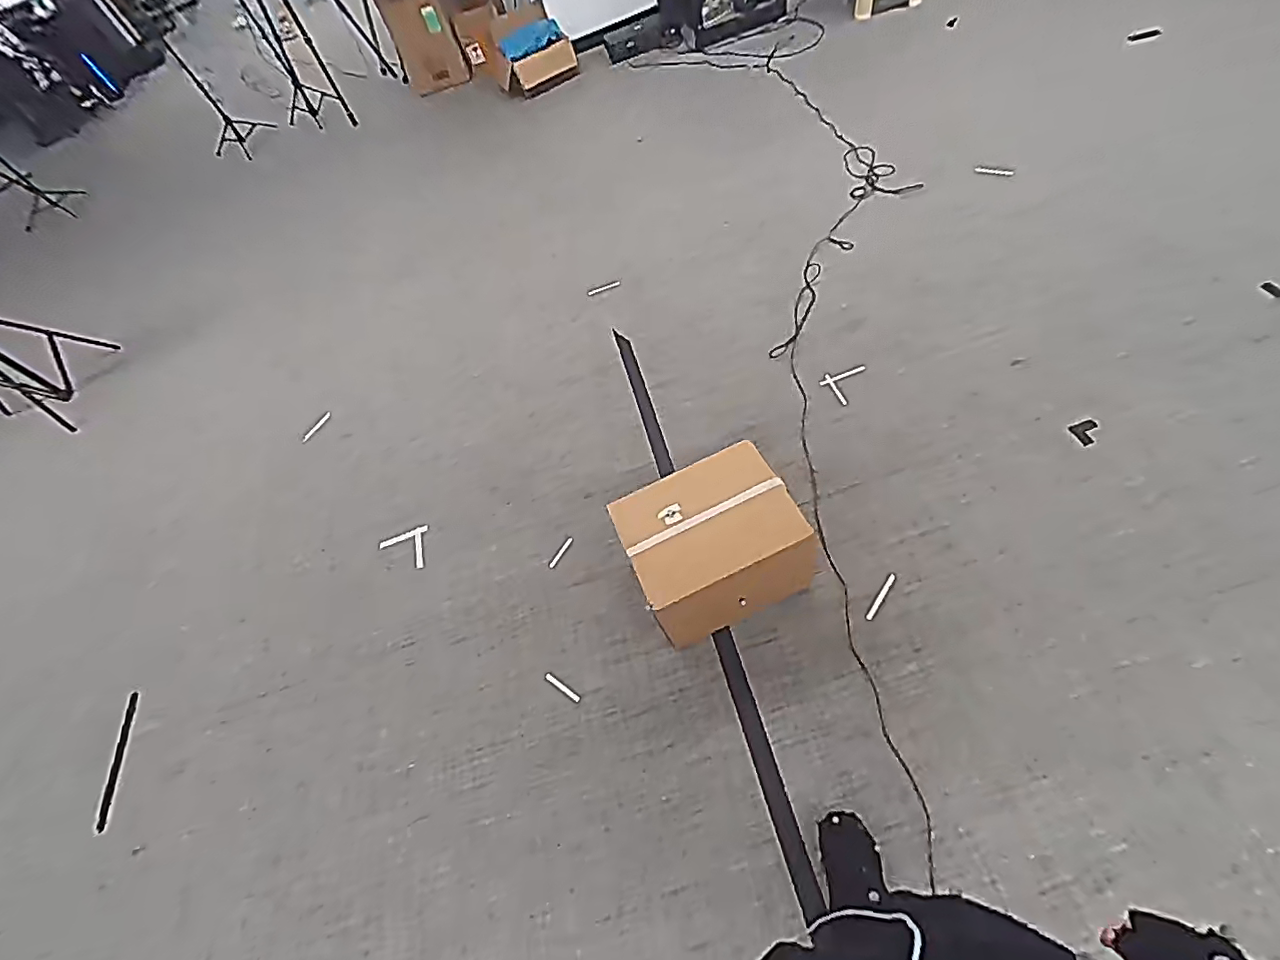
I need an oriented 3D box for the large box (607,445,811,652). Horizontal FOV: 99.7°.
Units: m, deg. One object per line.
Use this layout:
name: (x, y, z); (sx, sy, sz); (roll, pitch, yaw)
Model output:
large box: (0.183, 0.185, 1.396); (0.408, 0.320, 0.320); (-26, 54, -1)
